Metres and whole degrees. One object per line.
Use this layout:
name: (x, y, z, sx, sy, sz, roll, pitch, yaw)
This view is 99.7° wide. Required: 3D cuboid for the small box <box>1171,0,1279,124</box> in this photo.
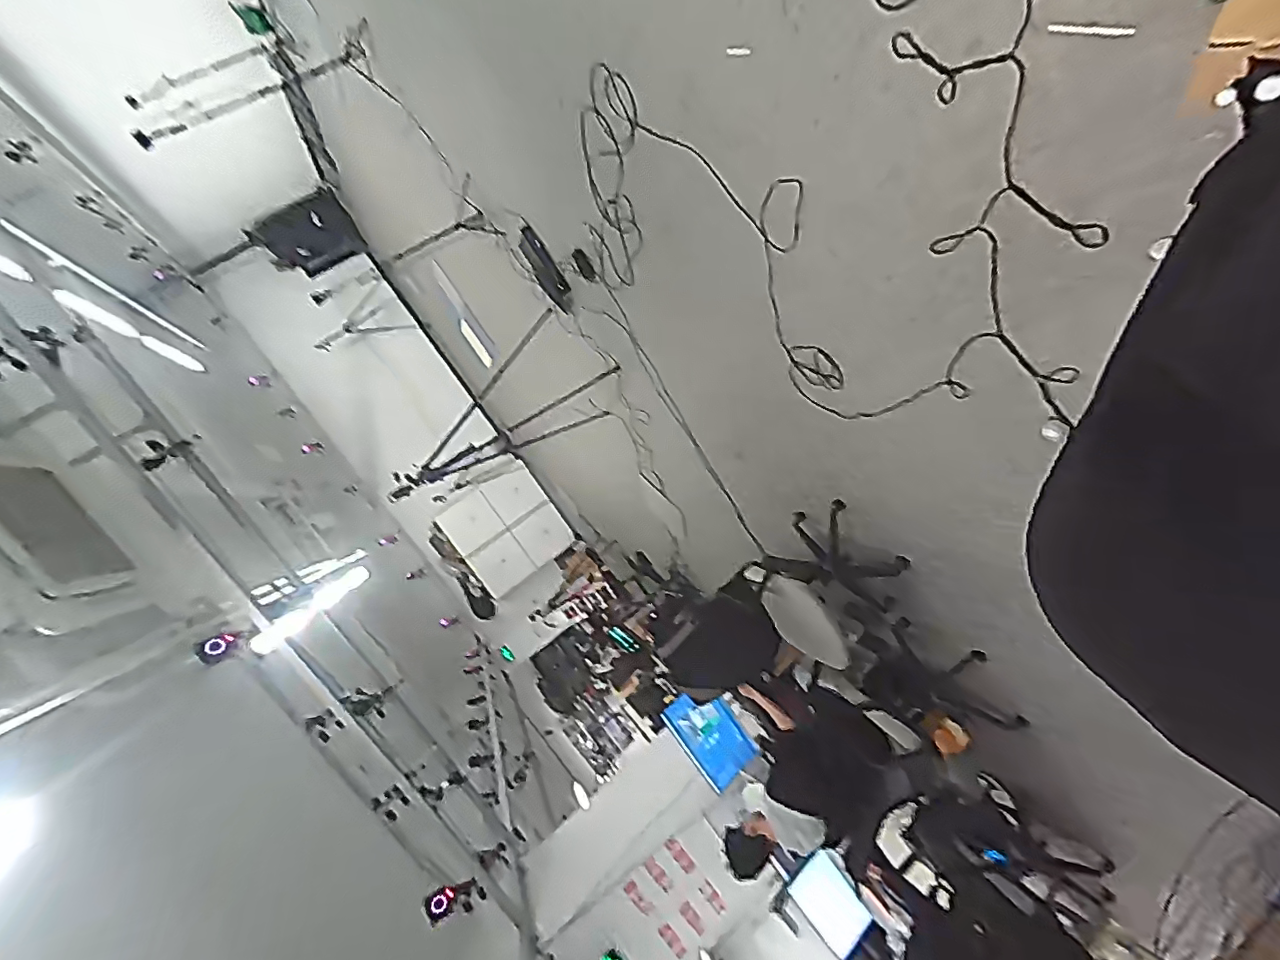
small box: (0.609, -0.427, 0.457, 0.168, 0.179, 0.176, 25, 114, 32)
